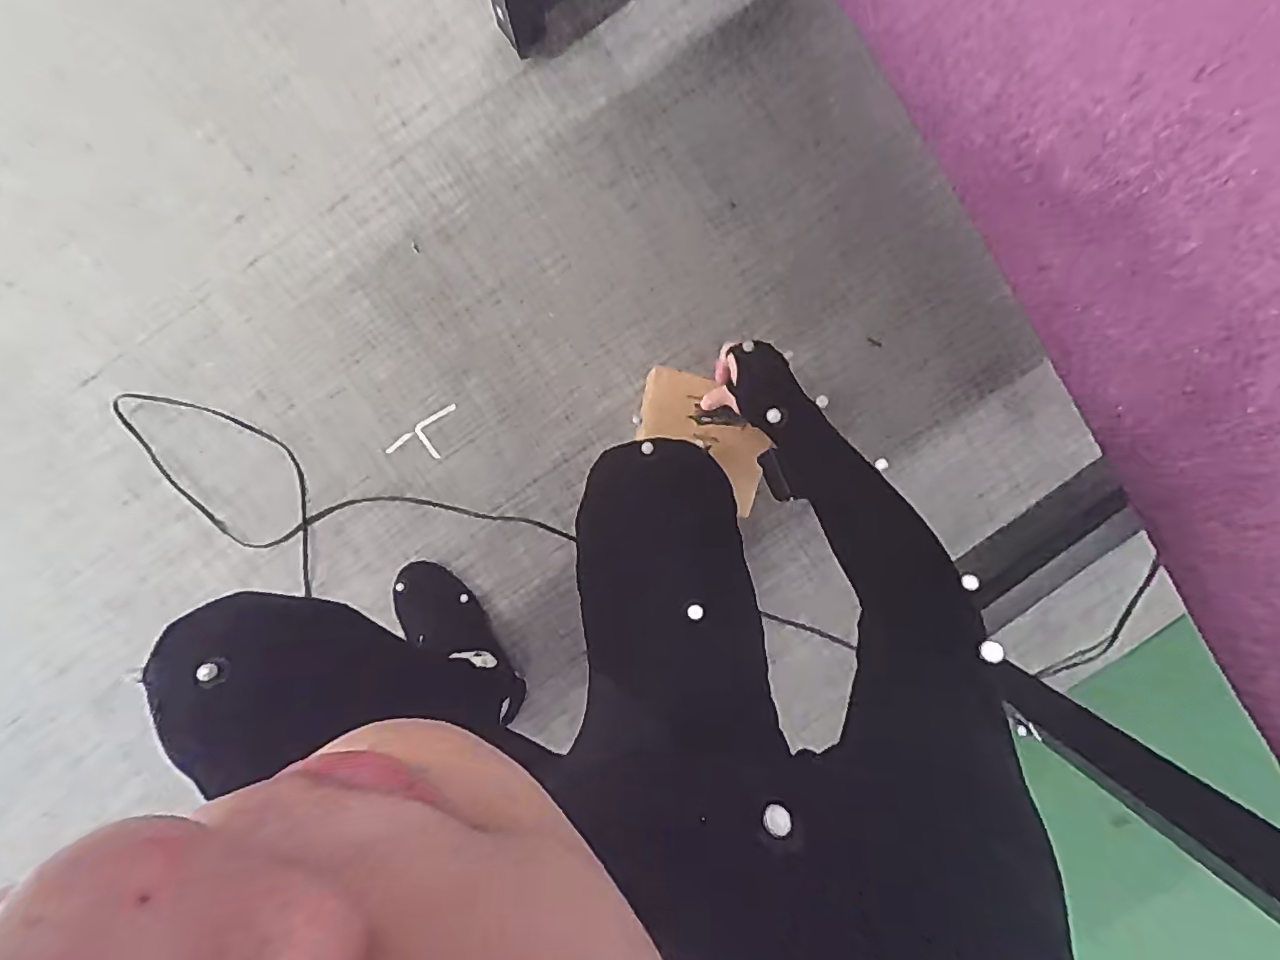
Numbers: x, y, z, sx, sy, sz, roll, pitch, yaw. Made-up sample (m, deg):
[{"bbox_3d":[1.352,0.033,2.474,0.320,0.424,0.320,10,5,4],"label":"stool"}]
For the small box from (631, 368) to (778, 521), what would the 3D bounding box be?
[{"bbox_3d":[0.082,-0.054,0.784,0.168,0.176,0.179,11,97,-3],"label":"small box"}]
